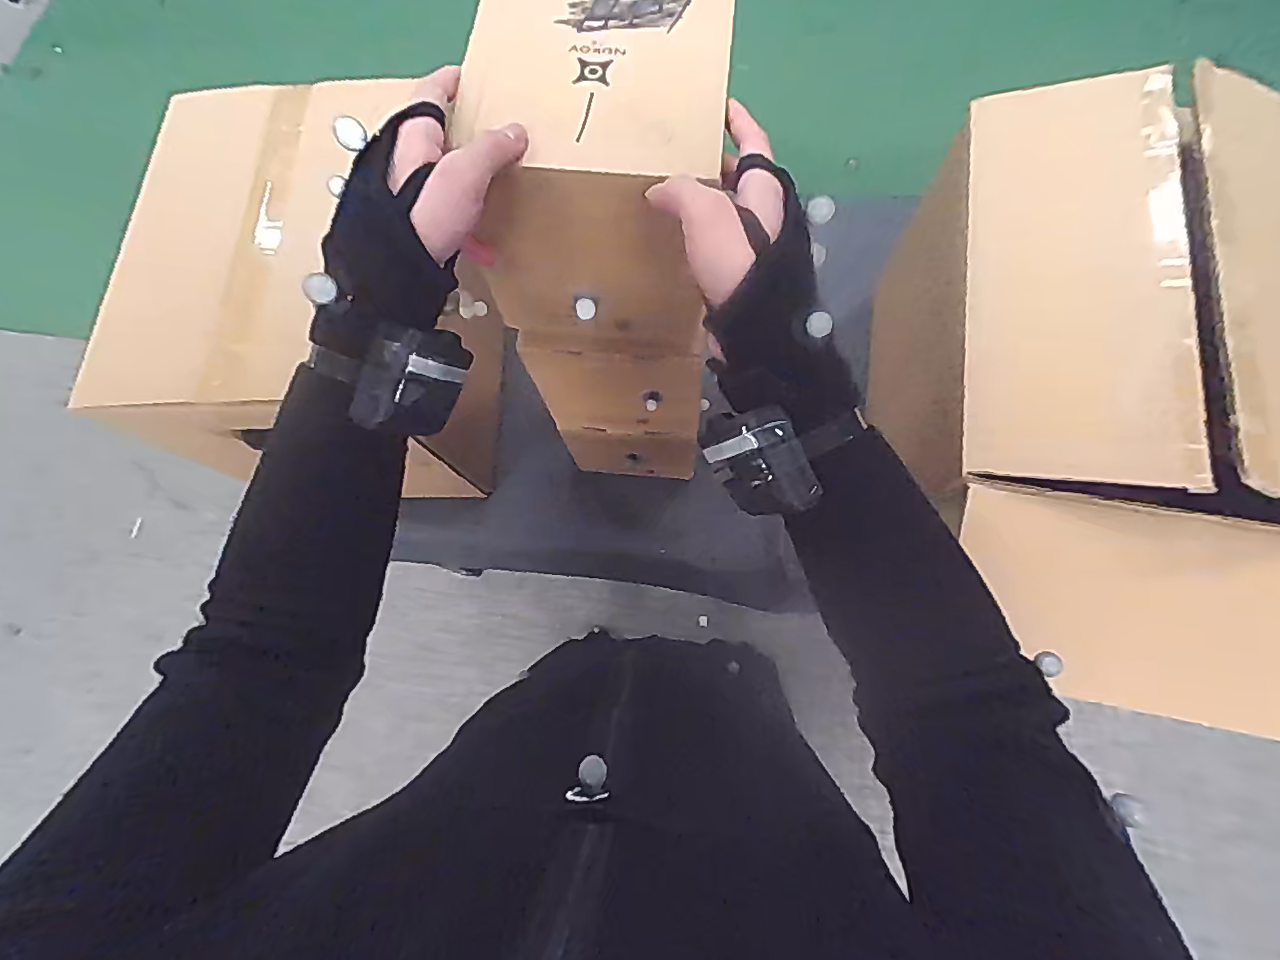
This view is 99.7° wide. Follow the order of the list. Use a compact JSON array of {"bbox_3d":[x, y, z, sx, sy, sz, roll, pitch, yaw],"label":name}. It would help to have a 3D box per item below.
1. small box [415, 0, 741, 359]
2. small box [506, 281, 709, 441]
[{"bbox_3d":[-0.028,-0.209,0.381,0.168,0.176,0.179,6,73,3],"label":"small box"},{"bbox_3d":[-0.018,-0.148,0.539,0.168,0.176,0.179,4,73,4],"label":"small box"}]
